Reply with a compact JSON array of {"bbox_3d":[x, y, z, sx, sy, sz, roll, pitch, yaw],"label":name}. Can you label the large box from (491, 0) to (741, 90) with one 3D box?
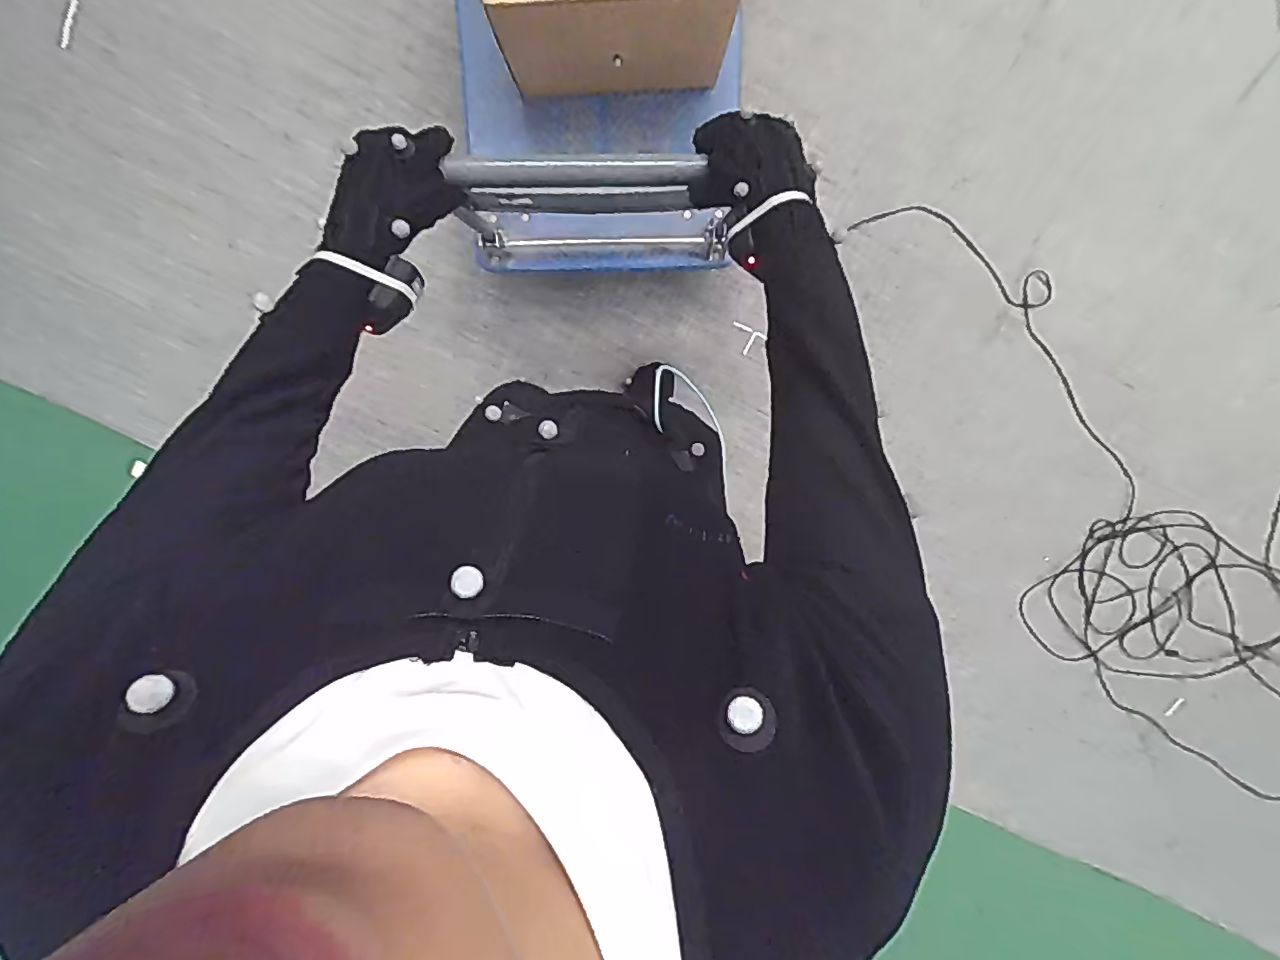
[{"bbox_3d":[-0.045,-0.935,0.944,0.408,0.320,0.320,-4,103,1],"label":"large box"}]
